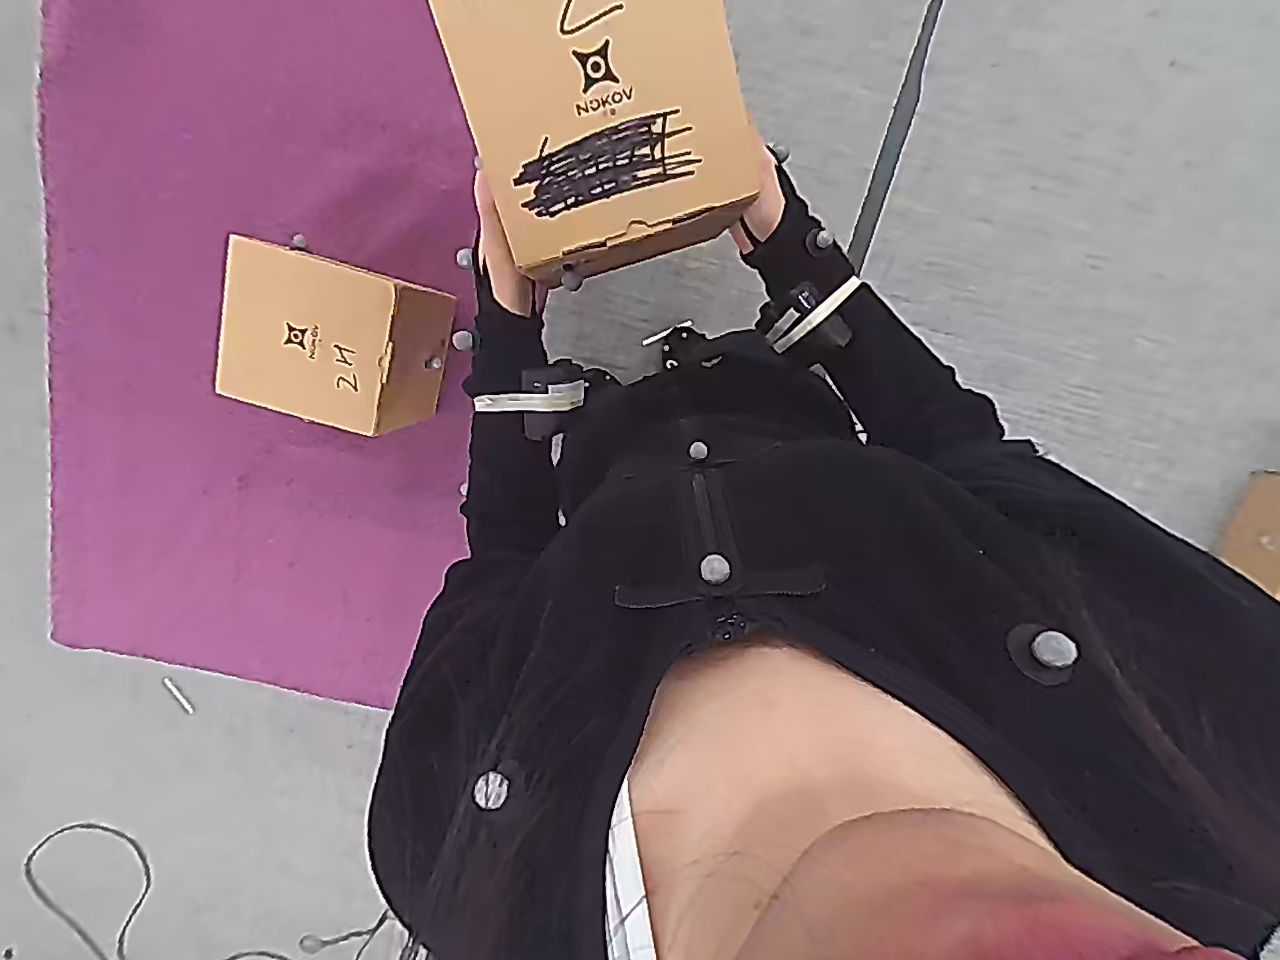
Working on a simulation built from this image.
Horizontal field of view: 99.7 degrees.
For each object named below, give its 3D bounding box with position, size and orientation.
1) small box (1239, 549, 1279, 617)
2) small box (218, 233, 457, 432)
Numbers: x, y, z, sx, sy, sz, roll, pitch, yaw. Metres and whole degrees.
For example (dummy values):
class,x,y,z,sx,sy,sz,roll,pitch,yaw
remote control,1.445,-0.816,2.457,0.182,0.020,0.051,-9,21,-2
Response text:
class,x,y,z,sx,sy,sz,roll,pitch,yaw
small box,1.822,0.294,1.469,0.179,0.176,0.168,5,103,-1
small box,-0.343,-0.168,0.640,0.179,0.176,0.168,16,104,-3
